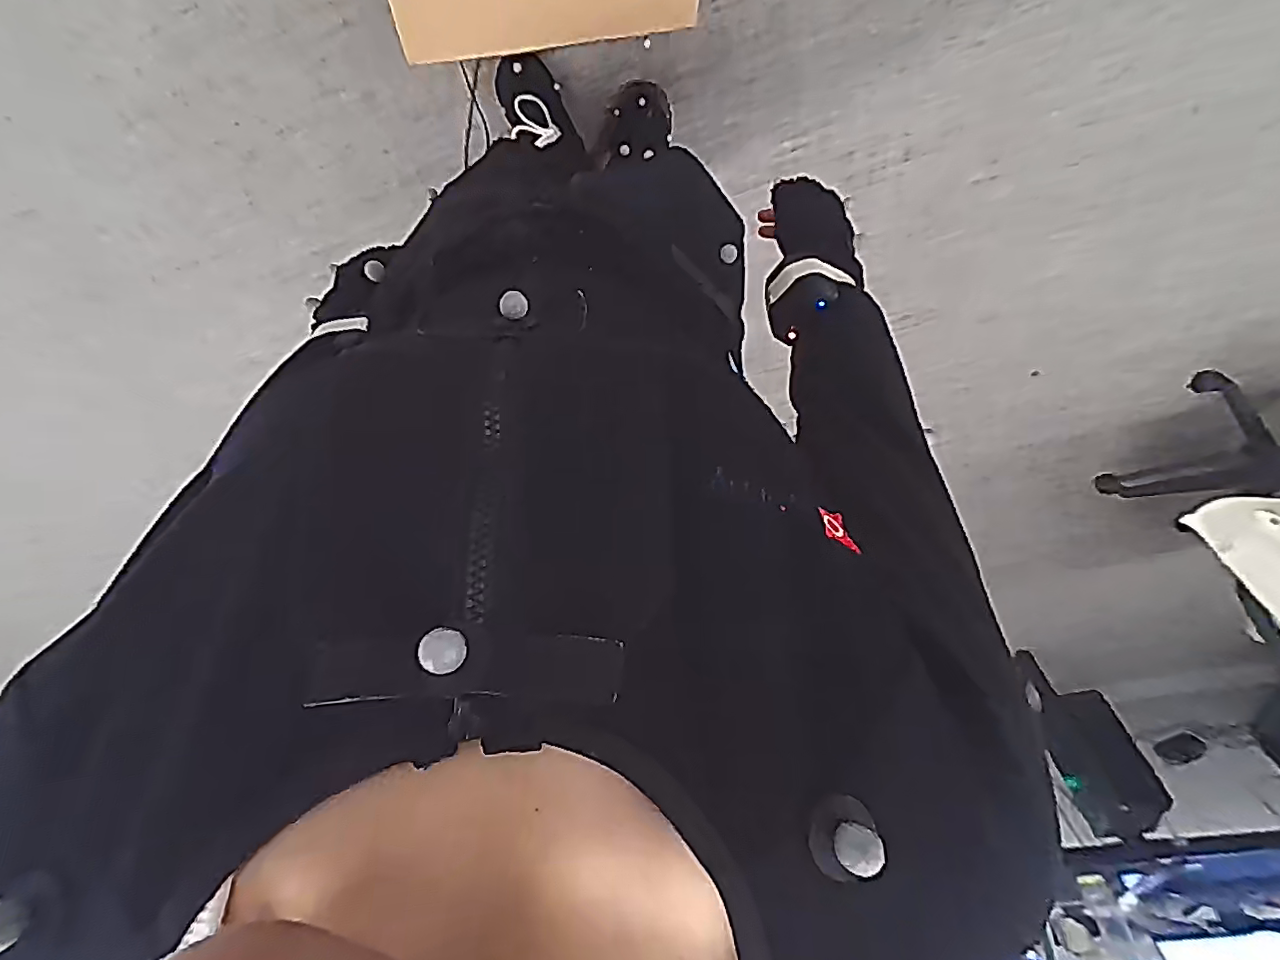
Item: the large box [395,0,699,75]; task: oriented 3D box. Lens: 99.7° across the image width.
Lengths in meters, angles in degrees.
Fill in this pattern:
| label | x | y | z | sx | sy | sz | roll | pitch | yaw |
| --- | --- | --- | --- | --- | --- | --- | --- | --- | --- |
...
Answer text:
| label | x | y | z | sx | sy | sz | roll | pitch | yaw |
| --- | --- | --- | --- | --- | --- | --- | --- | --- | --- |
| large box | -0.135 | -0.802 | 0.761 | 0.408 | 0.320 | 0.320 | -5 | 130 | 3 |
